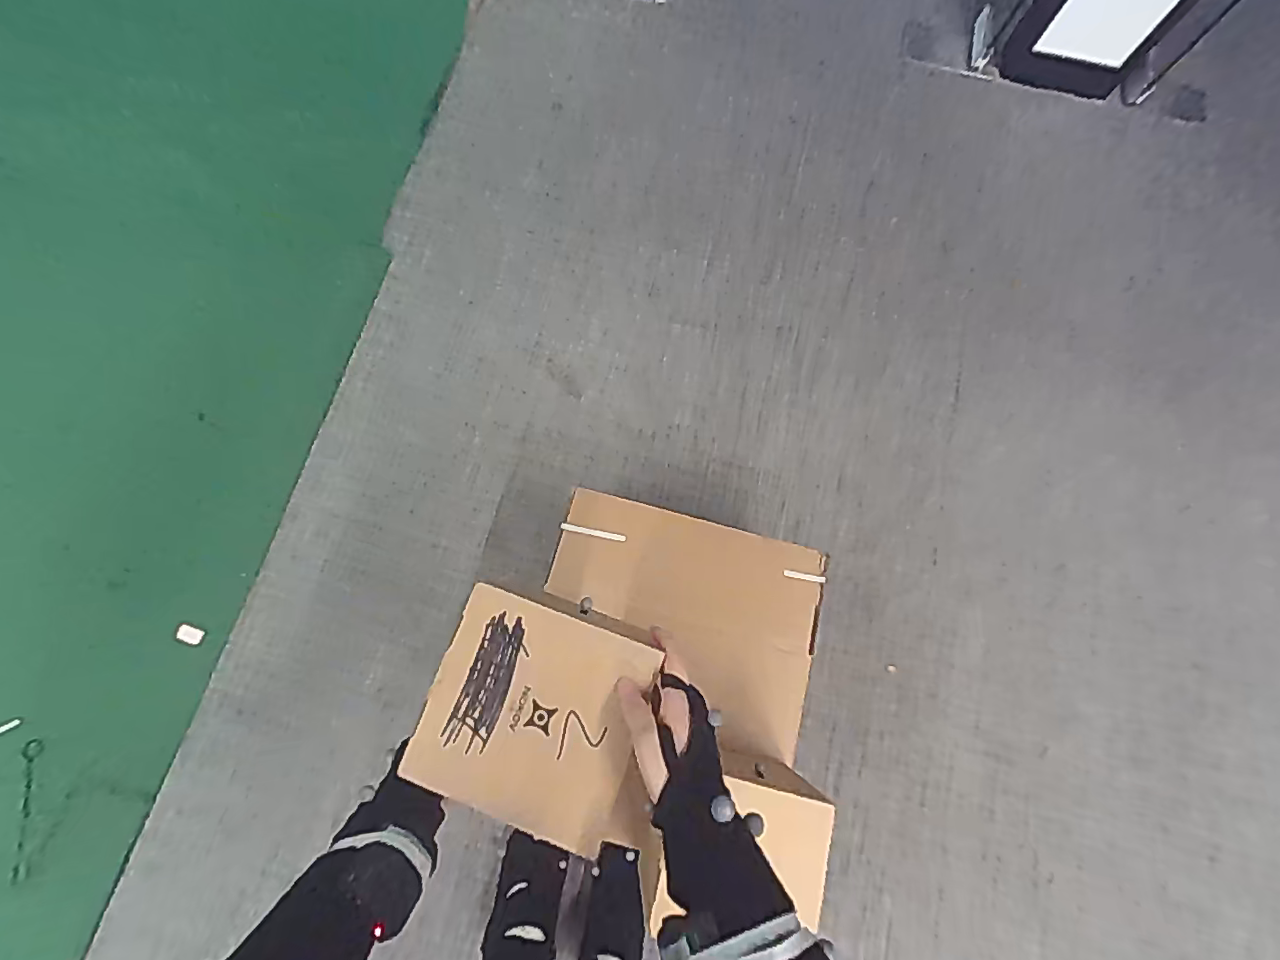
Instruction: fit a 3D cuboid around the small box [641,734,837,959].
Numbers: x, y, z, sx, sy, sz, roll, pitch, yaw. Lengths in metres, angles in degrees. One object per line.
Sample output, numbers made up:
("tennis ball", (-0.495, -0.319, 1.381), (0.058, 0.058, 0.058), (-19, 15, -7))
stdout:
("small box", (0.107, 0.422, 0.647), (0.179, 0.176, 0.168), (15, 75, 1))
